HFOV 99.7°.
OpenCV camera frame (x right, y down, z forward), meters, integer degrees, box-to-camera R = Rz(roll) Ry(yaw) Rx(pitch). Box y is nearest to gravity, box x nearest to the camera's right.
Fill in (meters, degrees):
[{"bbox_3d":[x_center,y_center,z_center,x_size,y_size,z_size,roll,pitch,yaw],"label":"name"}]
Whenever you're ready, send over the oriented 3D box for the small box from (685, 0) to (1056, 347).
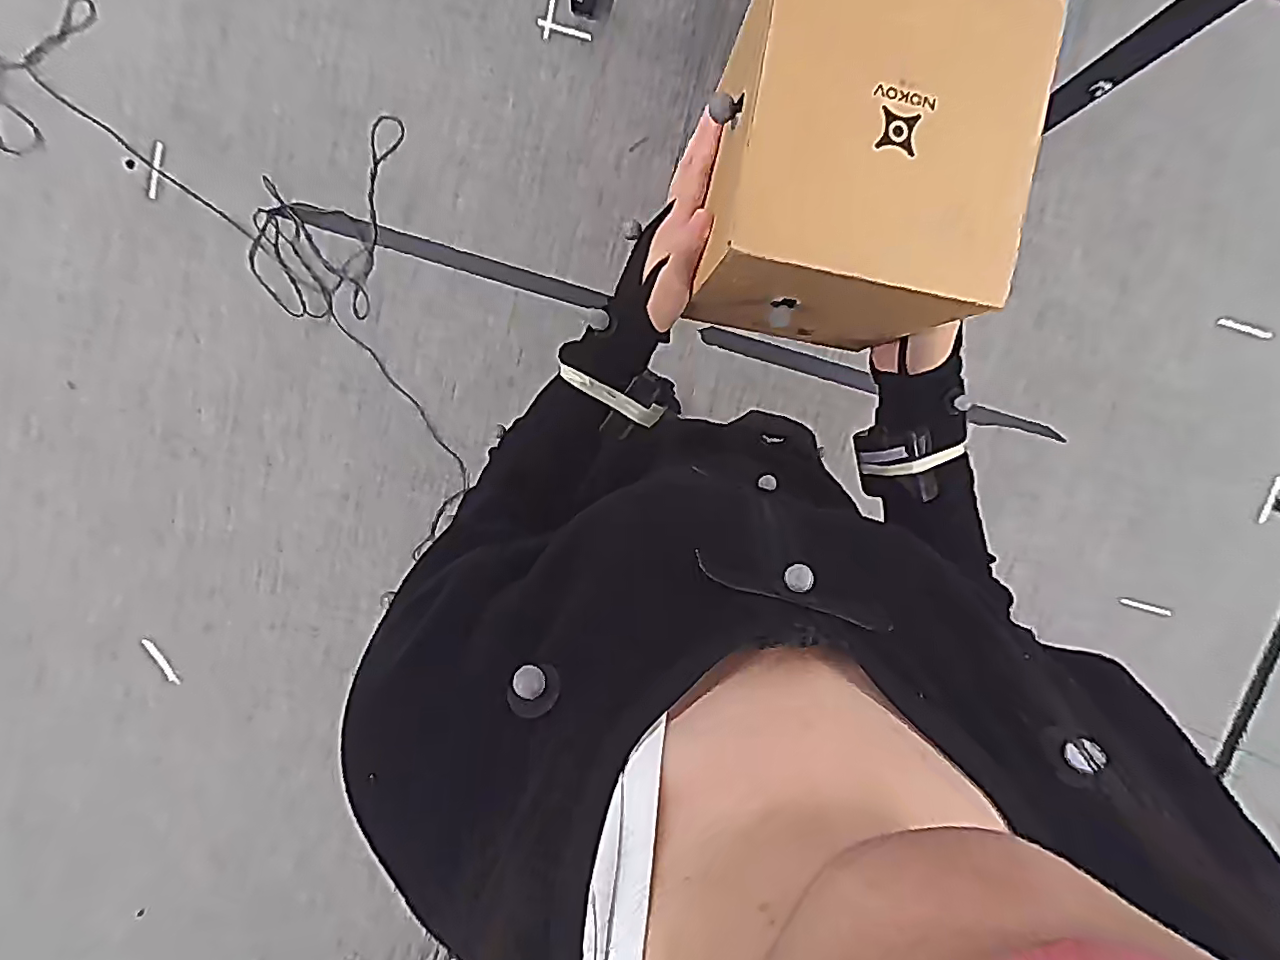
[{"bbox_3d":[0.134,-0.202,0.381,0.168,0.176,0.179,9,92,-7],"label":"small box"}]
